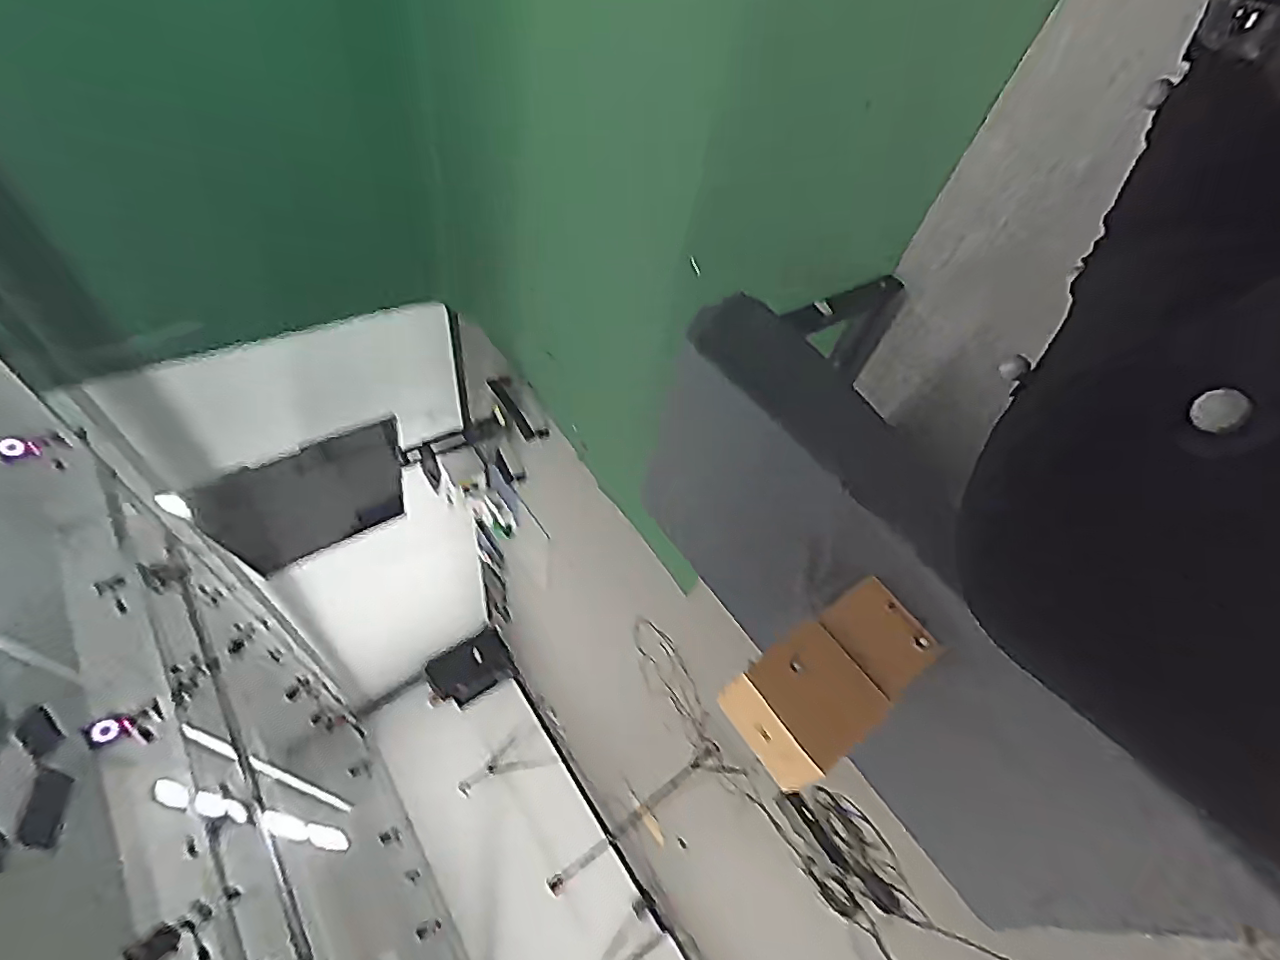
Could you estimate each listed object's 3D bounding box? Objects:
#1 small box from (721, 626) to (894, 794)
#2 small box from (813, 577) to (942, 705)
[{"bbox_3d":[0.265,0.362,0.877,0.179,0.176,0.168,48,150,29],"label":"small box"},{"bbox_3d":[0.404,0.304,0.974,0.168,0.176,0.179,51,151,24],"label":"small box"}]
